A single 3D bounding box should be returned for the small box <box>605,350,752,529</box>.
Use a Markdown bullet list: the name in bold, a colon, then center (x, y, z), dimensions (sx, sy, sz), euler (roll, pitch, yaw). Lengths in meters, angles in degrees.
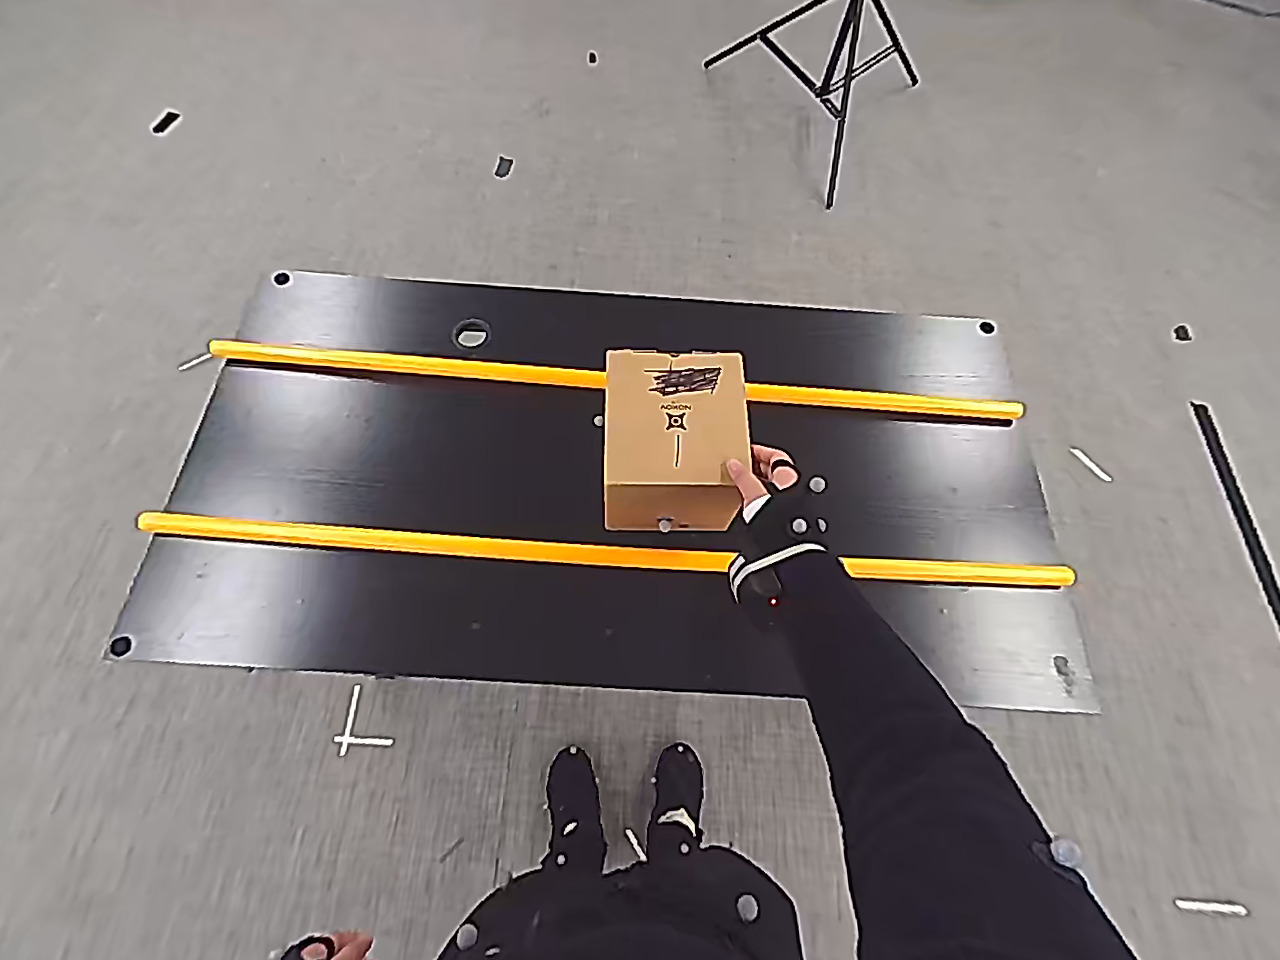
- **small box**: center (0.040, -0.046, 0.701), dimensions (0.168, 0.176, 0.179), euler (0, 68, -2)
